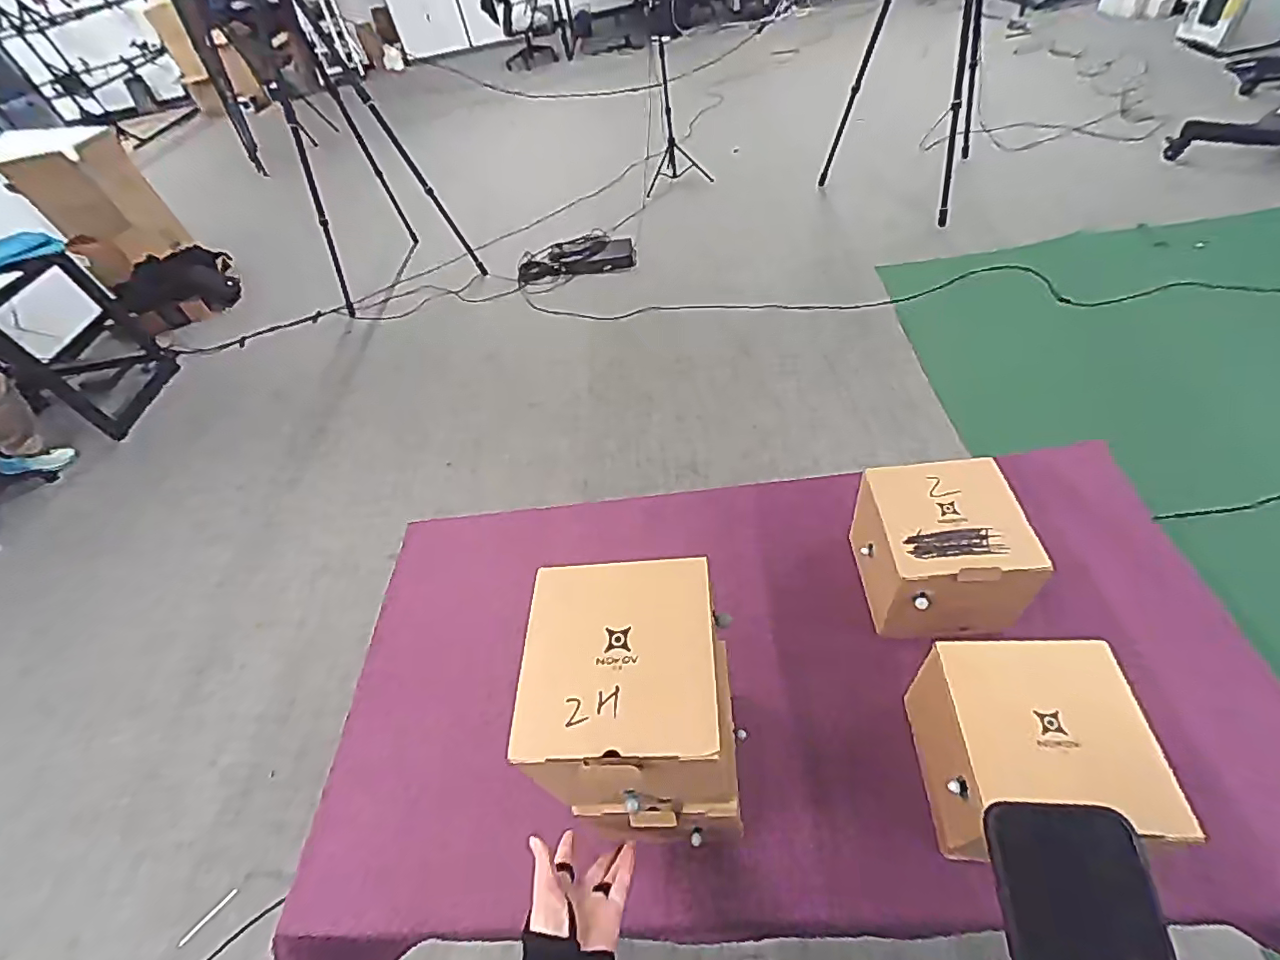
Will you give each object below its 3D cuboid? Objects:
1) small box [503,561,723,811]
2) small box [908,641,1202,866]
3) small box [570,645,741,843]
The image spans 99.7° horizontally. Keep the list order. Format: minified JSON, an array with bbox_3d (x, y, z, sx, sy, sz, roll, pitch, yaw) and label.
[{"bbox_3d":[-0.010,0.199,0.519,0.168,0.176,0.179,-5,48,8],"label":"small box"},{"bbox_3d":[0.401,0.287,0.570,0.168,0.176,0.179,-4,50,10],"label":"small box"},{"bbox_3d":[0.027,0.312,0.633,0.168,0.176,0.179,-5,48,8],"label":"small box"}]
